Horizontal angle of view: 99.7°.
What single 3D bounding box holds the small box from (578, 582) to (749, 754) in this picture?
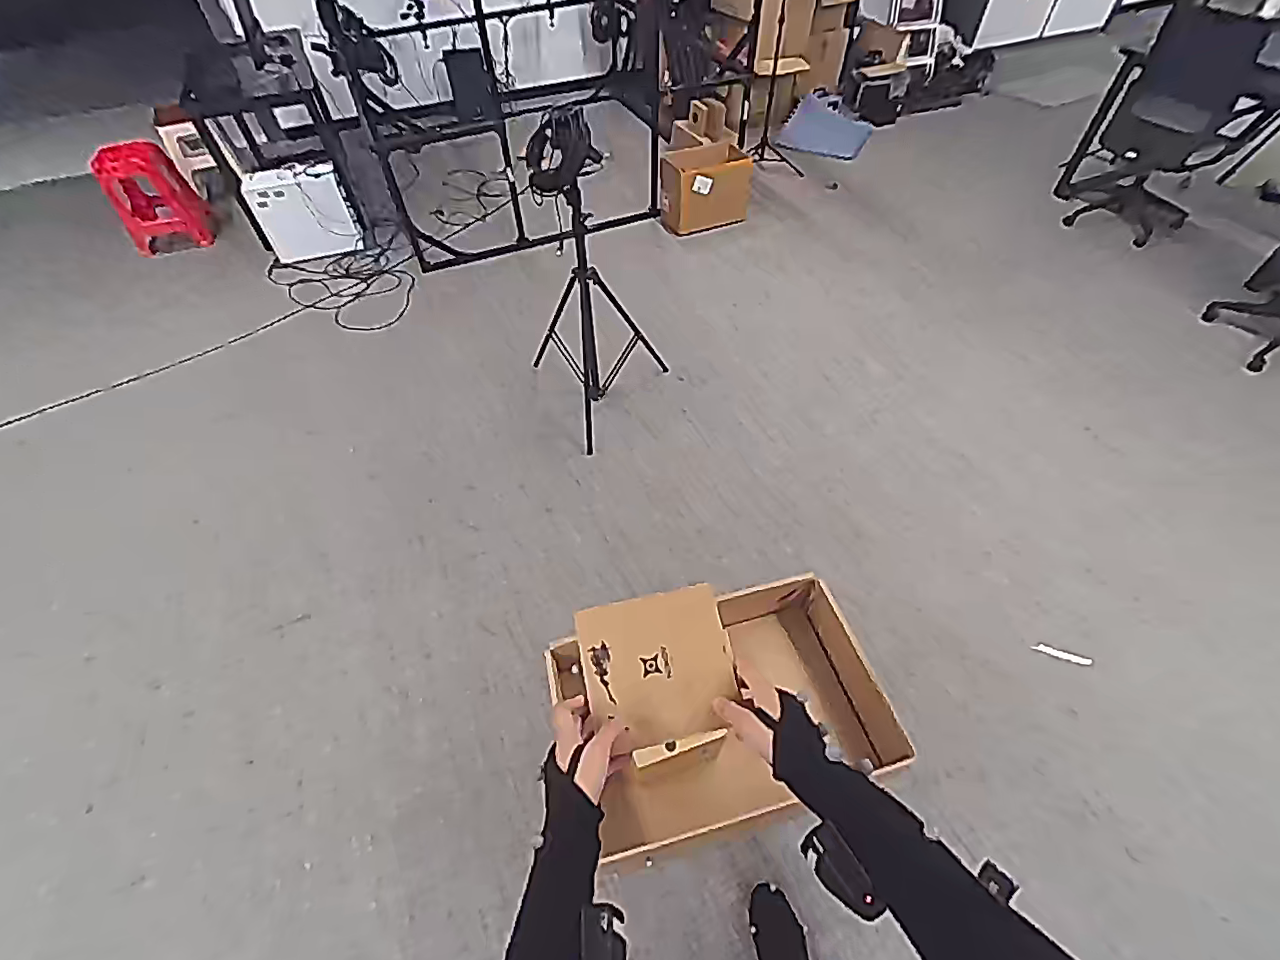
[{"bbox_3d":[0.022,0.244,0.701,0.179,0.176,0.168,-11,66,-5],"label":"small box"}]
